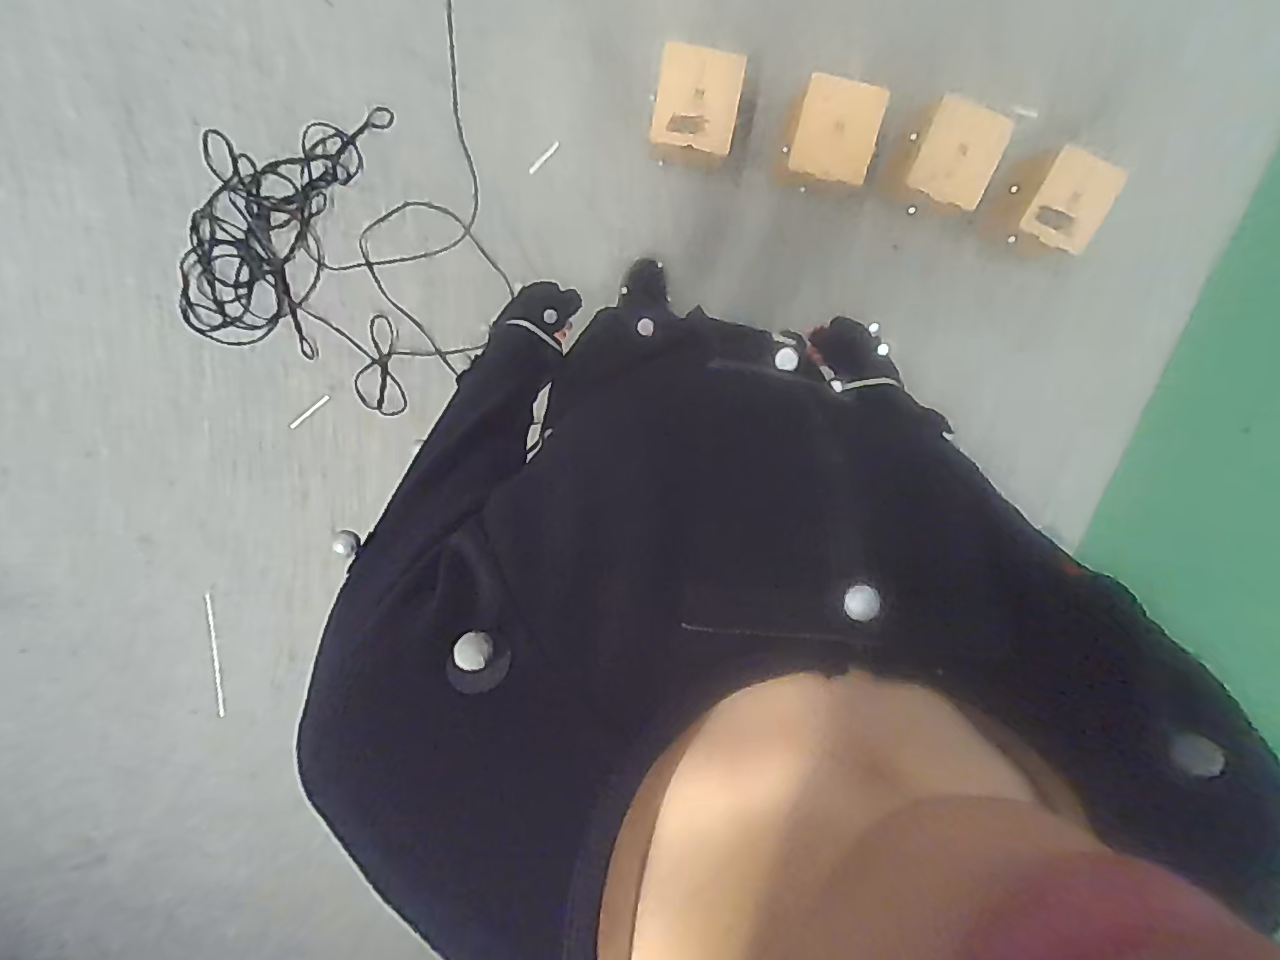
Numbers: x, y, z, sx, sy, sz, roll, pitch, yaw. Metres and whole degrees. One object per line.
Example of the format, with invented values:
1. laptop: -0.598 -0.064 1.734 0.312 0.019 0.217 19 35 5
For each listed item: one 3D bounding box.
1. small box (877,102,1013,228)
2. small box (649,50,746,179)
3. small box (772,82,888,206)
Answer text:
1. small box: 0.654 -0.678 1.187 0.168 0.176 0.179 18 108 -6
2. small box: 0.115 -0.765 1.155 0.168 0.176 0.179 10 107 -3
3. small box: 0.401 -0.717 1.174 0.168 0.176 0.179 11 109 -3
